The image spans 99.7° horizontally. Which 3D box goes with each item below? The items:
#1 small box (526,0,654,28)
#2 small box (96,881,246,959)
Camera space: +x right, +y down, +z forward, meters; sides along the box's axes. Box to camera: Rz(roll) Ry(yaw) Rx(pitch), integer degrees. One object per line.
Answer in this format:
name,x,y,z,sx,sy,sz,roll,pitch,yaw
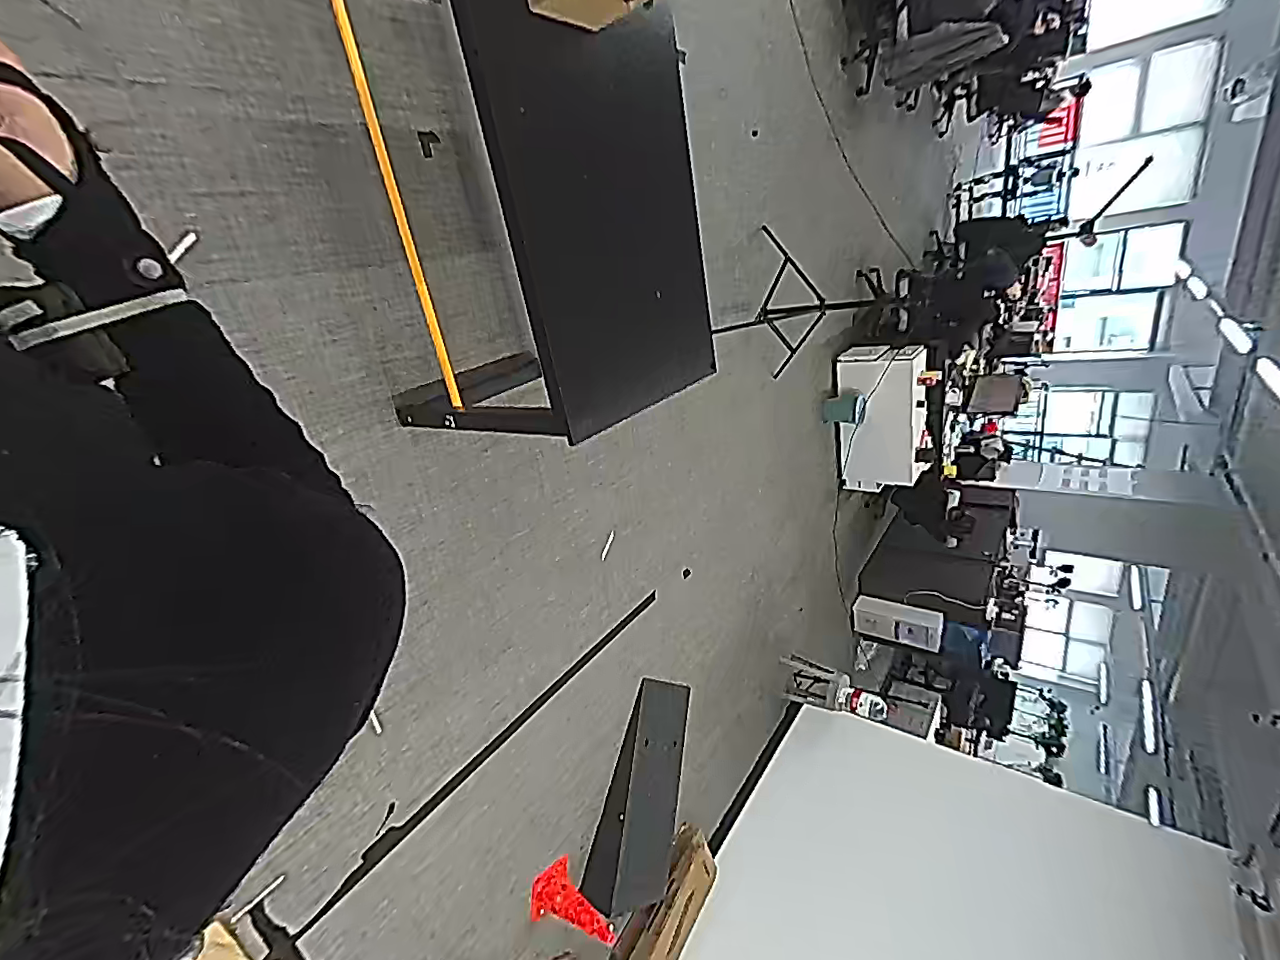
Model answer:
small box,-0.093,-0.912,0.922,0.179,0.176,0.168,-32,120,-45
small box,-0.934,0.963,1.085,0.168,0.176,0.179,-36,122,-45
